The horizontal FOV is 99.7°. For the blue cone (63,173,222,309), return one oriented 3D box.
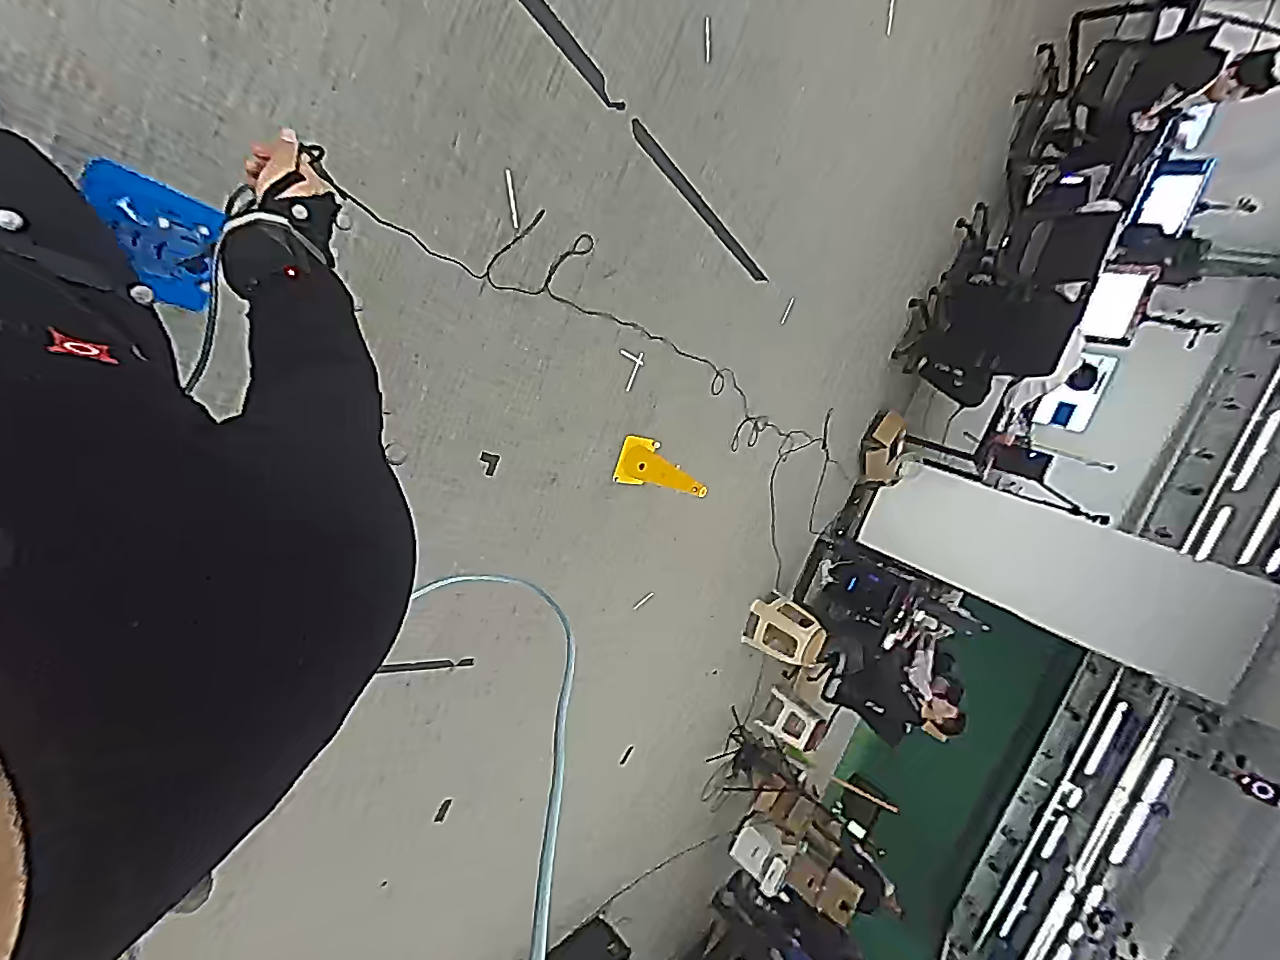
[{"bbox_3d":[-0.761,-0.359,0.866,0.193,0.380,0.192,18,98,-53],"label":"blue cone"}]
